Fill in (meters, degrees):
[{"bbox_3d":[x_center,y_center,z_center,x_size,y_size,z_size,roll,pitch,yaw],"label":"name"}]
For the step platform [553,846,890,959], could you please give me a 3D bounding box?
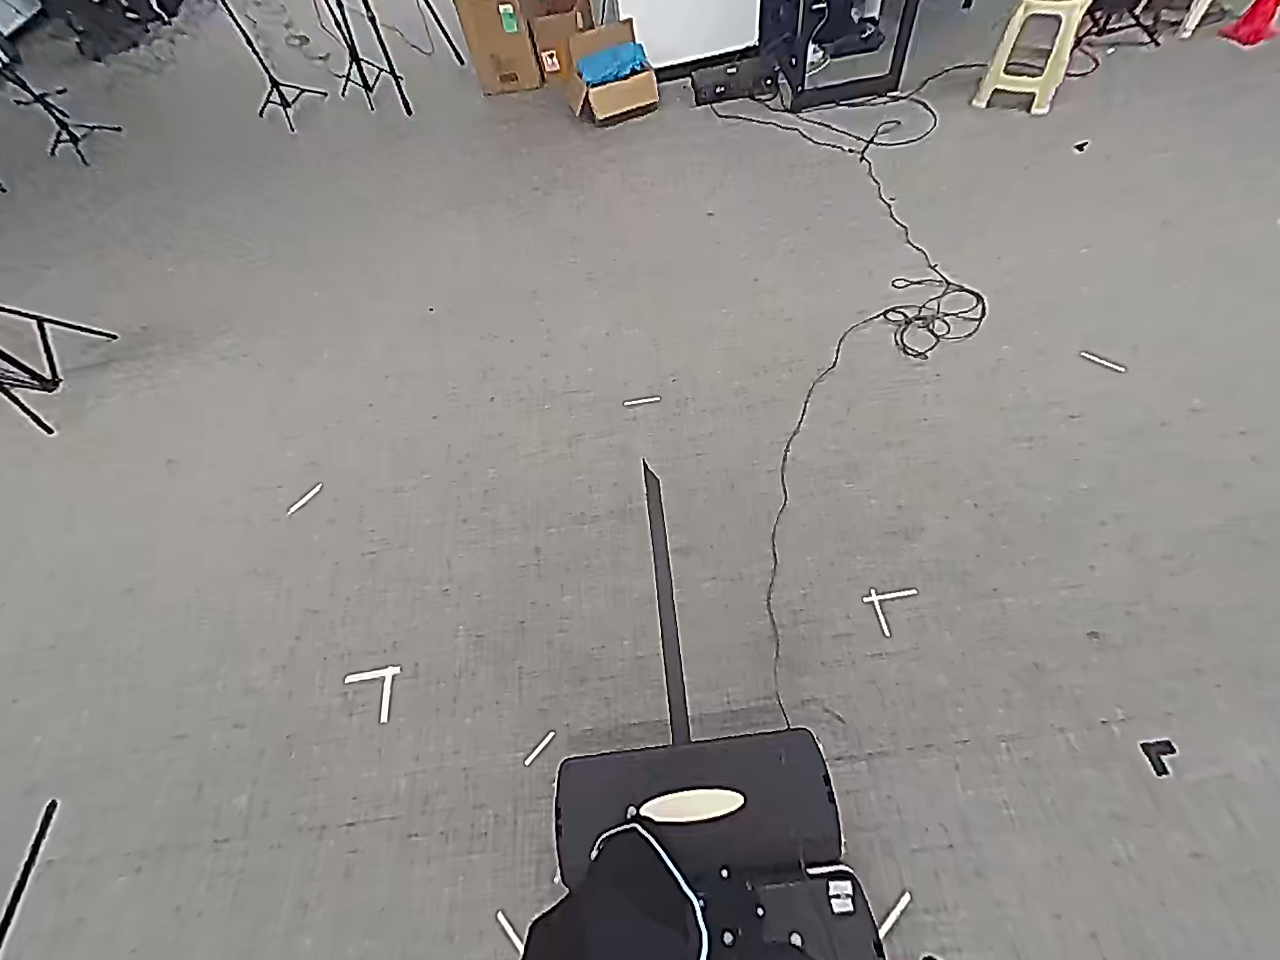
[{"bbox_3d":[0.161,0.984,1.139,0.684,0.204,0.286,-10,57,4],"label":"step platform"}]
